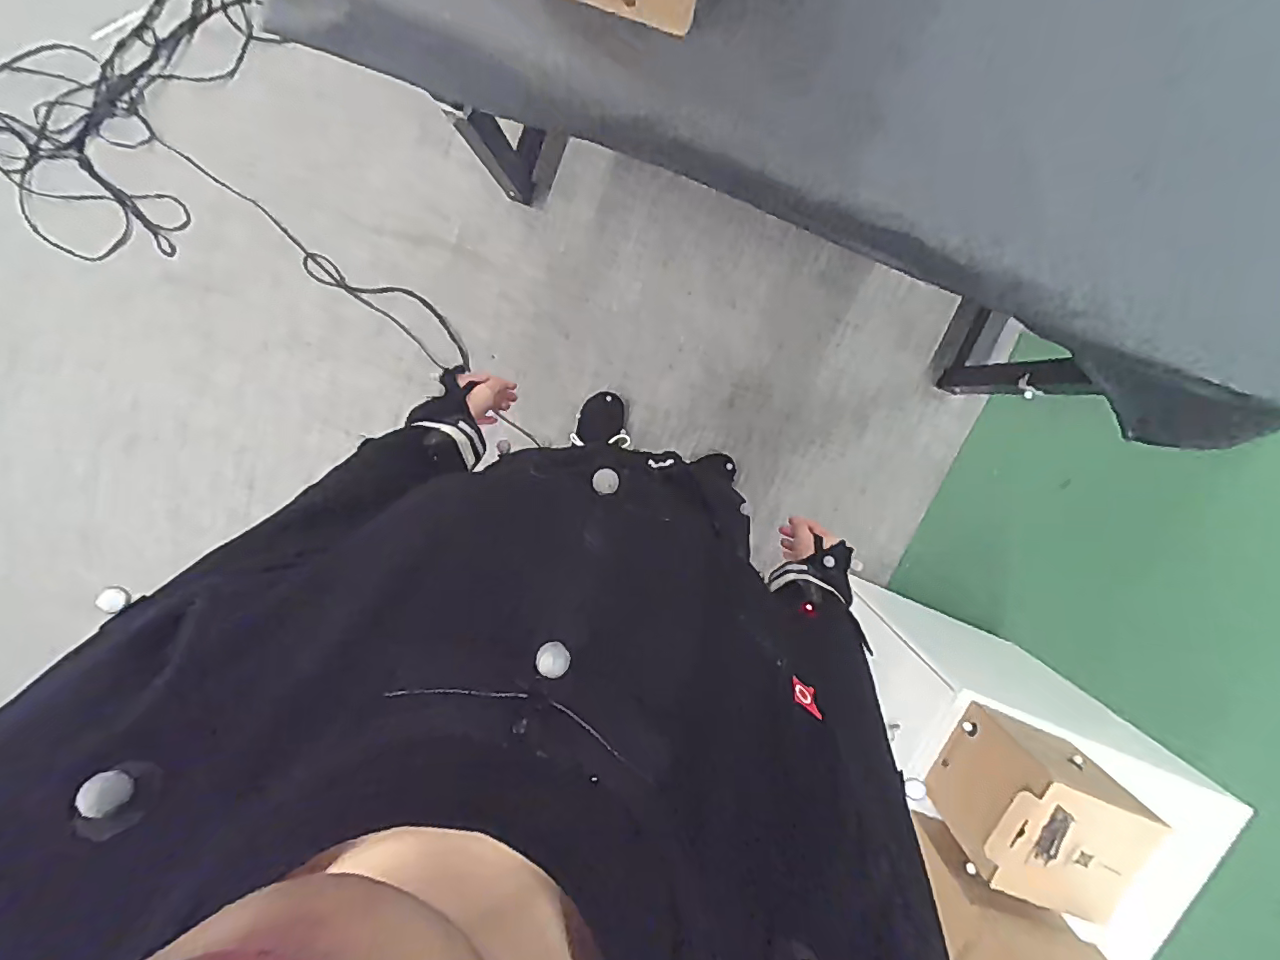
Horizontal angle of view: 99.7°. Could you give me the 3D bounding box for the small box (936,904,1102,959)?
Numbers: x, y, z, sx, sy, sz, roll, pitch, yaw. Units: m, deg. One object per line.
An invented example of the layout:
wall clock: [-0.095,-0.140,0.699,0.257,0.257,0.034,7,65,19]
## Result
small box: [0.469,0.649,0.630,0.179,0.176,0.168,19,99,-3]

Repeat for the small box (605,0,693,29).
small box: [-0.008,-0.551,0.465,0.168,0.176,0.179,18,99,-3]
